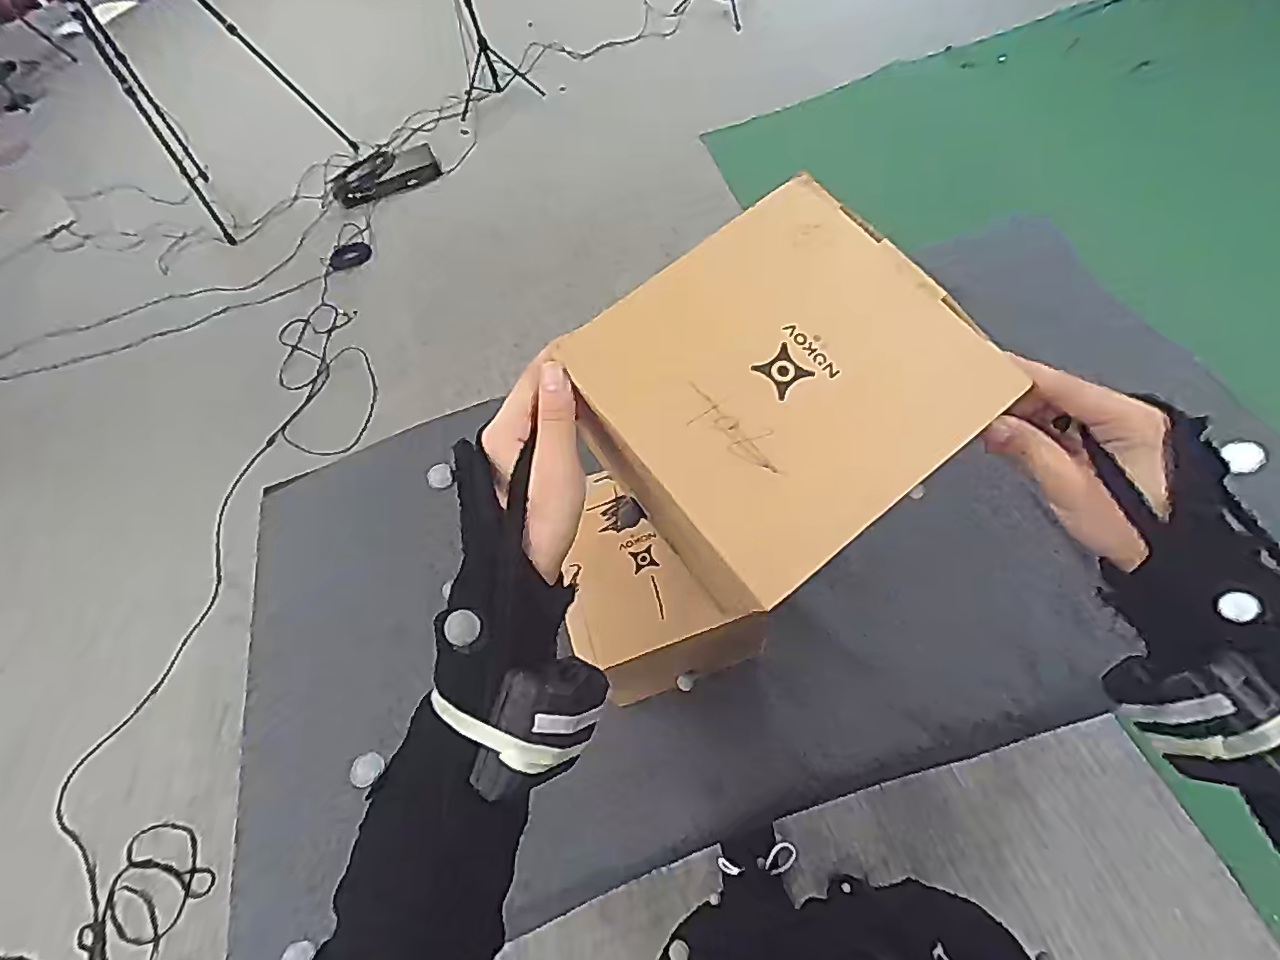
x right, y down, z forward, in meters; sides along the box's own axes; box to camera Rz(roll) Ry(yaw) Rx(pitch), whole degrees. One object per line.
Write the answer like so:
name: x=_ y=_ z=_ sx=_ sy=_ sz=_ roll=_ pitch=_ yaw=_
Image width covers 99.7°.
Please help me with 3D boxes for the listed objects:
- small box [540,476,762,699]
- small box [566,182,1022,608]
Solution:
small box: x=0.013 y=0.104 z=0.558 sx=0.168 sy=0.176 sz=0.179 roll=-20 pitch=59 yaw=-1
small box: x=0.078 y=-0.036 z=0.351 sx=0.179 sy=0.176 sz=0.168 roll=-39 pitch=77 yaw=-8
